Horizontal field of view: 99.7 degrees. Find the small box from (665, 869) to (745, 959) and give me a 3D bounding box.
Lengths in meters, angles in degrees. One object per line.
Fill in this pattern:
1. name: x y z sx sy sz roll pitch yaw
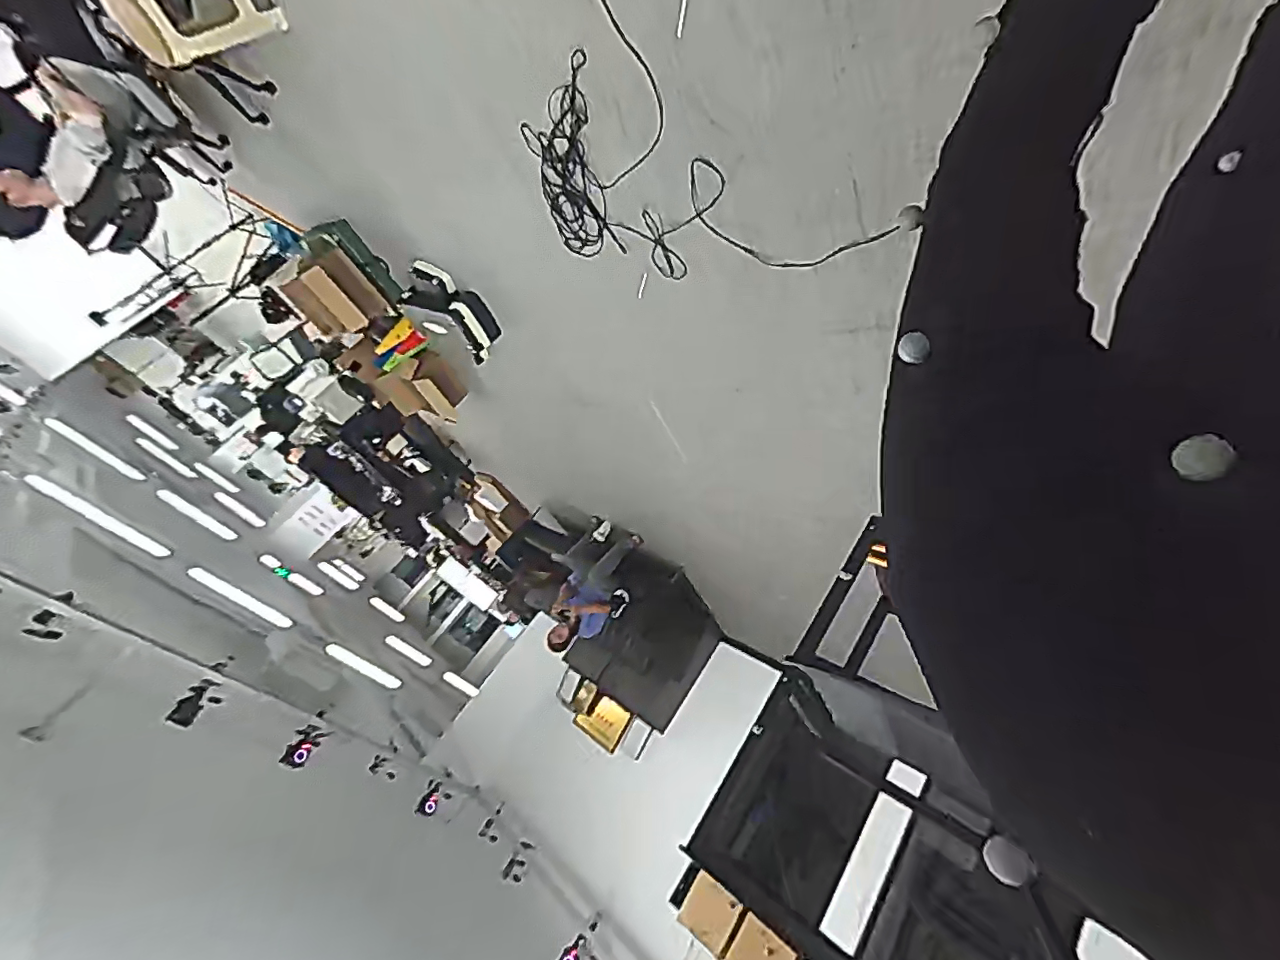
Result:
1. small box: 0.212 1.395 1.741 0.168 0.176 0.179 19 152 40
